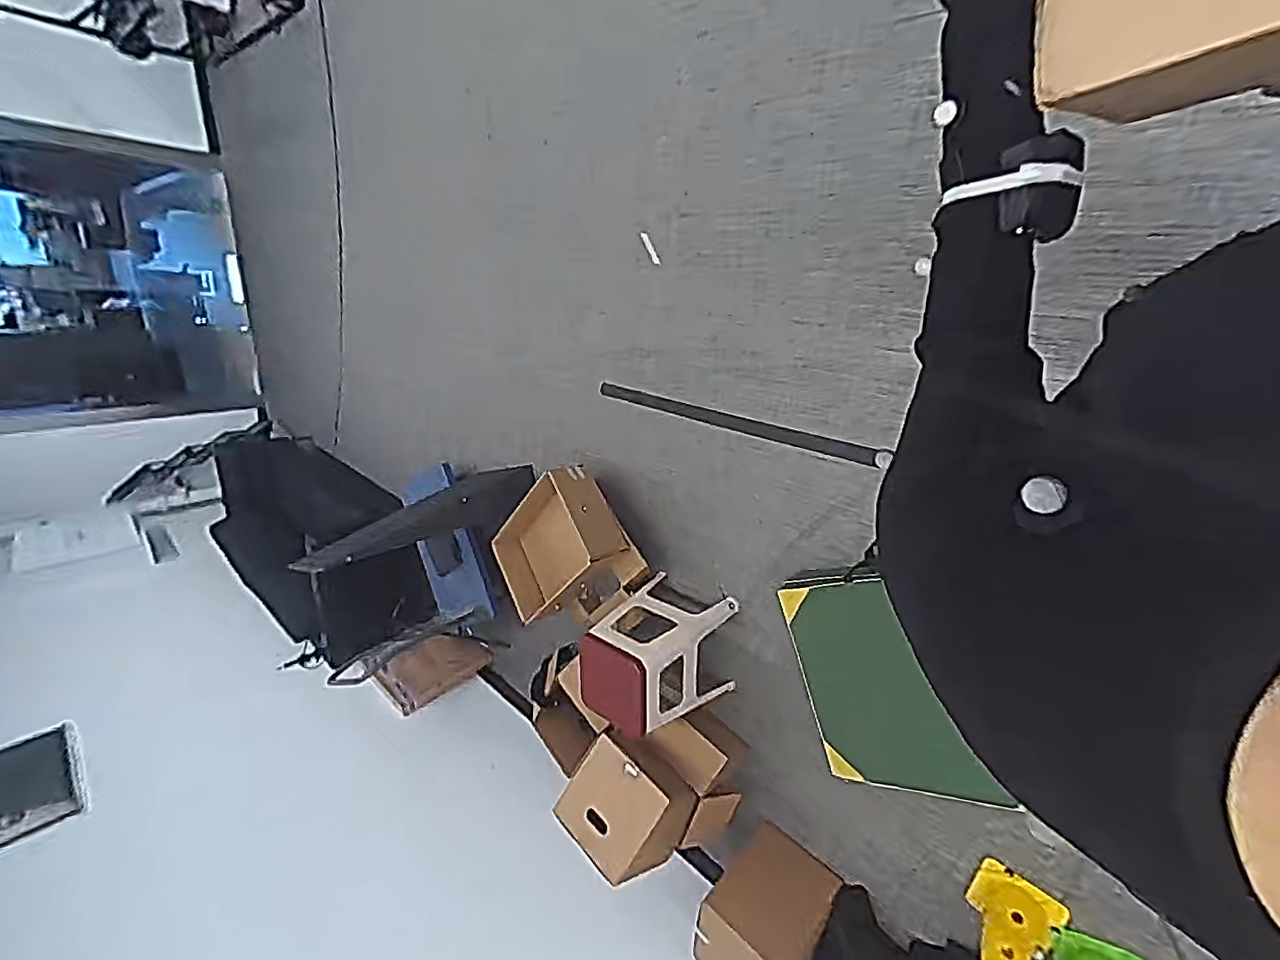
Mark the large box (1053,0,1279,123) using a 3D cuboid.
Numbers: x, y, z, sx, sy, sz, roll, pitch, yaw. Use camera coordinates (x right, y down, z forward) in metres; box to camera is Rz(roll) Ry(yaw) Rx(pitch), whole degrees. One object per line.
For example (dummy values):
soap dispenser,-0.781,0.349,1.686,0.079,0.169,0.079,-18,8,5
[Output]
large box,0.518,-0.454,0.303,0.408,0.320,0.320,10,118,47
